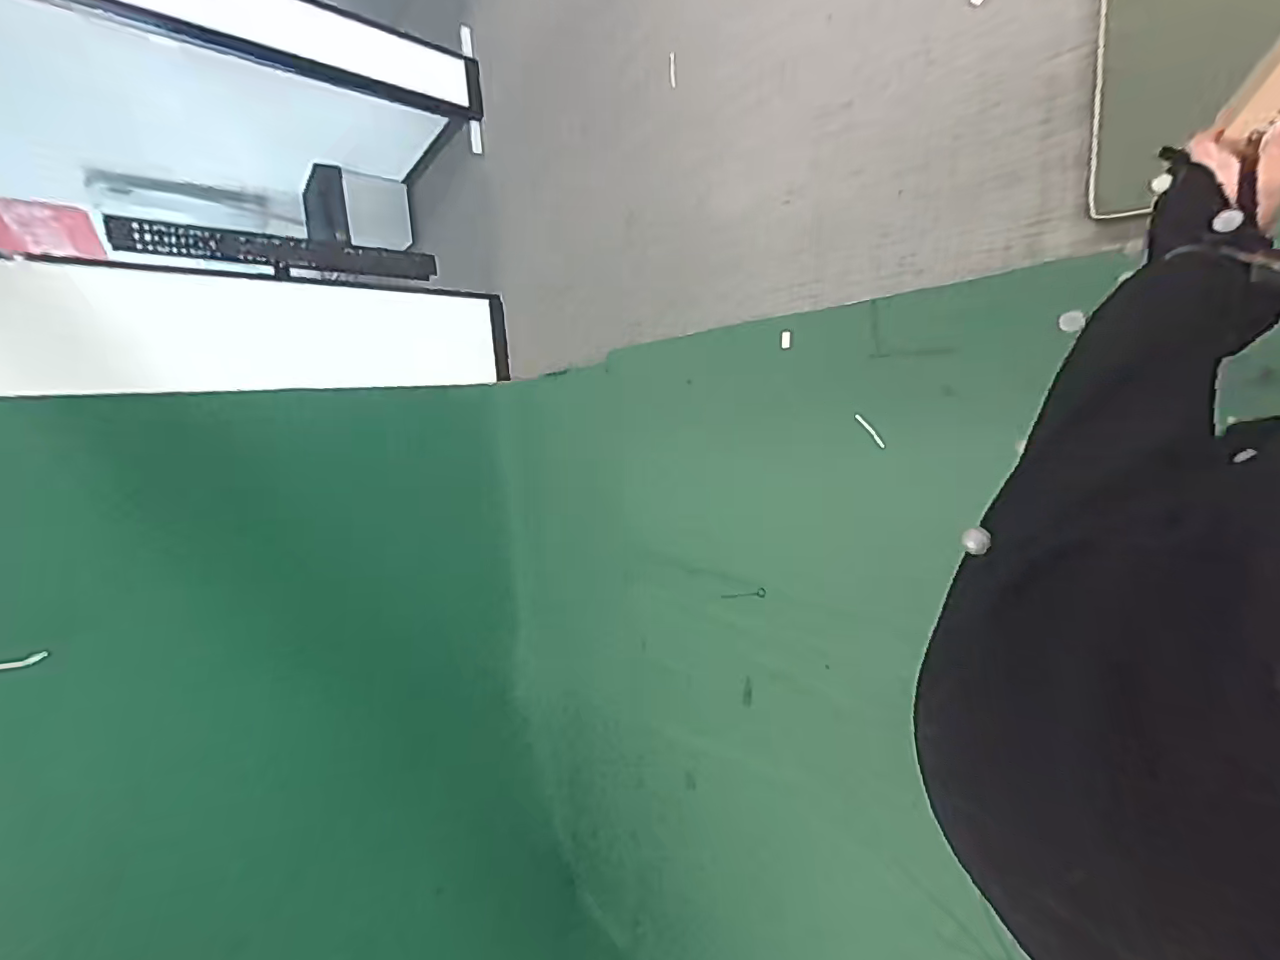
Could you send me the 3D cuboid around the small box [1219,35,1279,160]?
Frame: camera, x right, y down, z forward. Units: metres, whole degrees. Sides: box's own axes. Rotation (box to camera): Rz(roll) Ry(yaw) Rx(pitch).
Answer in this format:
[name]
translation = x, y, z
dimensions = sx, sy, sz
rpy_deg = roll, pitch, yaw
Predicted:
[small box]
translation = 0.589, -0.321, 0.388
dimensions = 0.179, 0.176, 0.168
rpy_deg = 35, 143, 20
